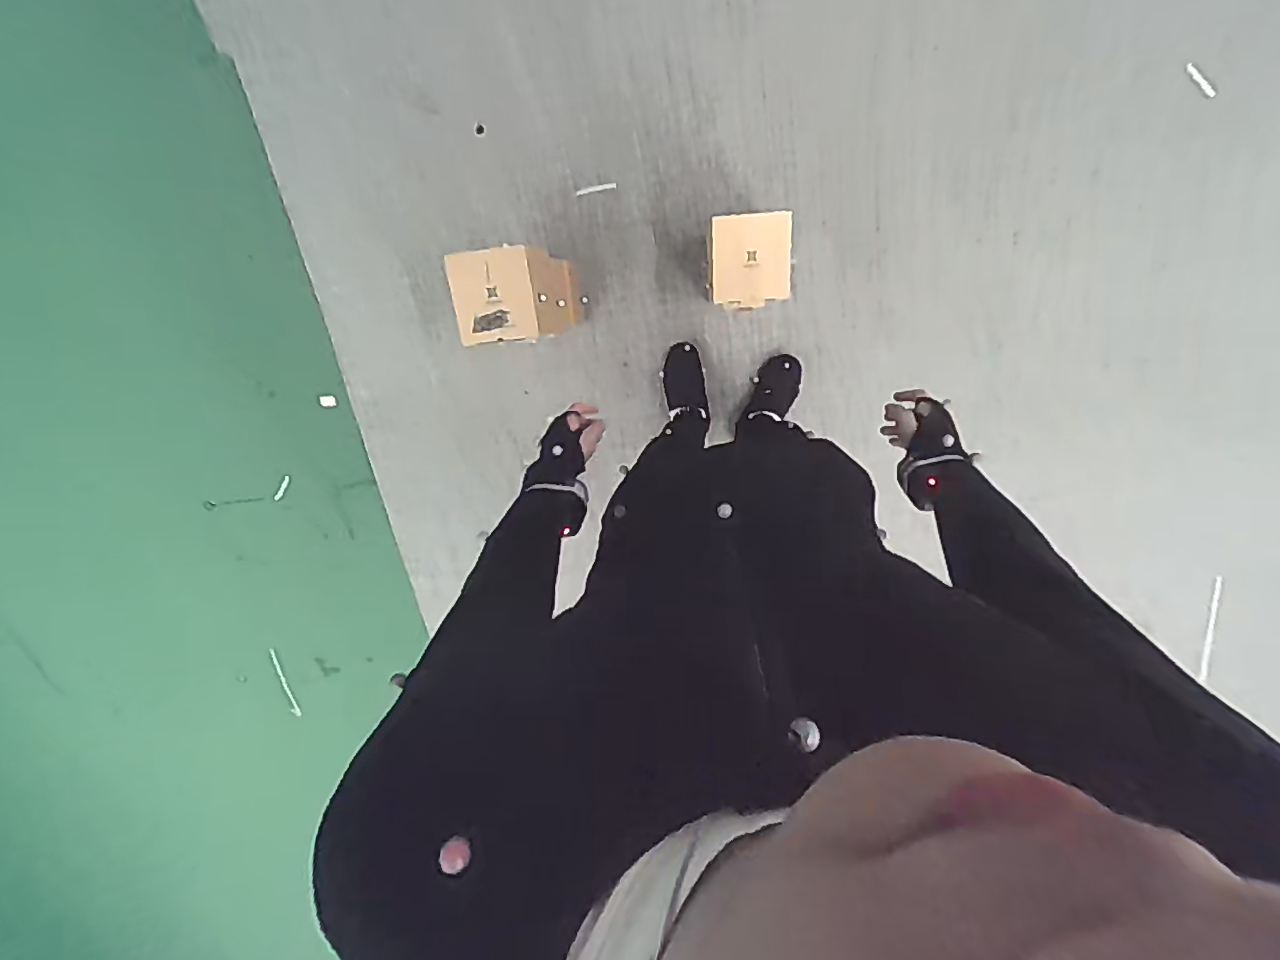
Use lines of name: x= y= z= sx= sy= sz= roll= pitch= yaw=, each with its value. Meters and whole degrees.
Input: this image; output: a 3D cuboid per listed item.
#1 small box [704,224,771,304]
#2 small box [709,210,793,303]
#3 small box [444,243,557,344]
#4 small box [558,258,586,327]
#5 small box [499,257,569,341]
small box: x=0.251 y=-0.543 z=1.368 sx=0.168 sy=0.176 sz=0.179 roll=4 pitch=111 yaw=6
small box: x=0.243 y=-0.494 z=1.215 sx=0.168 sy=0.176 sz=0.179 roll=-2 pitch=109 yaw=6
small box: x=-0.280 y=-0.389 z=1.130 sx=0.168 sy=0.176 sz=0.179 roll=-4 pitch=109 yaw=7
small box: x=-0.252 y=-0.492 z=1.439 sx=0.179 sy=0.176 sz=0.168 roll=-2 pitch=109 yaw=6
small box: x=-0.273 y=-0.434 z=1.288 sx=0.168 sy=0.176 sz=0.179 roll=-3 pitch=110 yaw=7
